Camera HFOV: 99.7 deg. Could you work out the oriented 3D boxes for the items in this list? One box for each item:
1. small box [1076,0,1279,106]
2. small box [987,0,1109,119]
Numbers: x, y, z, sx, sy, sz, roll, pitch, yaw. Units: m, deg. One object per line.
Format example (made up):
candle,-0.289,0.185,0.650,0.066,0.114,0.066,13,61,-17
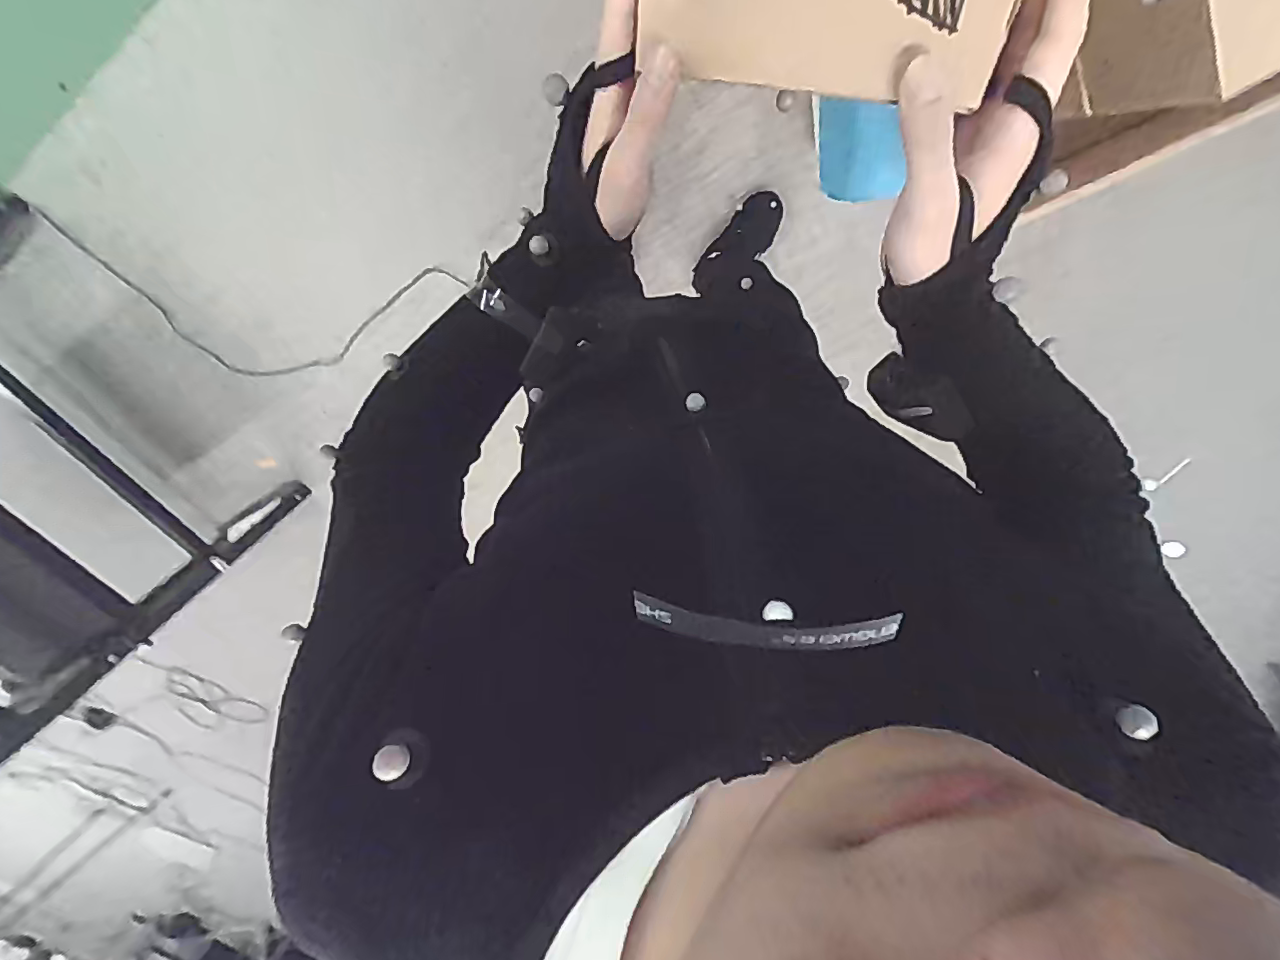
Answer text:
small box,0.469,-0.427,0.416,0.168,0.176,0.179,-26,114,22
small box,0.489,-0.508,0.555,0.168,0.176,0.179,-25,114,21
